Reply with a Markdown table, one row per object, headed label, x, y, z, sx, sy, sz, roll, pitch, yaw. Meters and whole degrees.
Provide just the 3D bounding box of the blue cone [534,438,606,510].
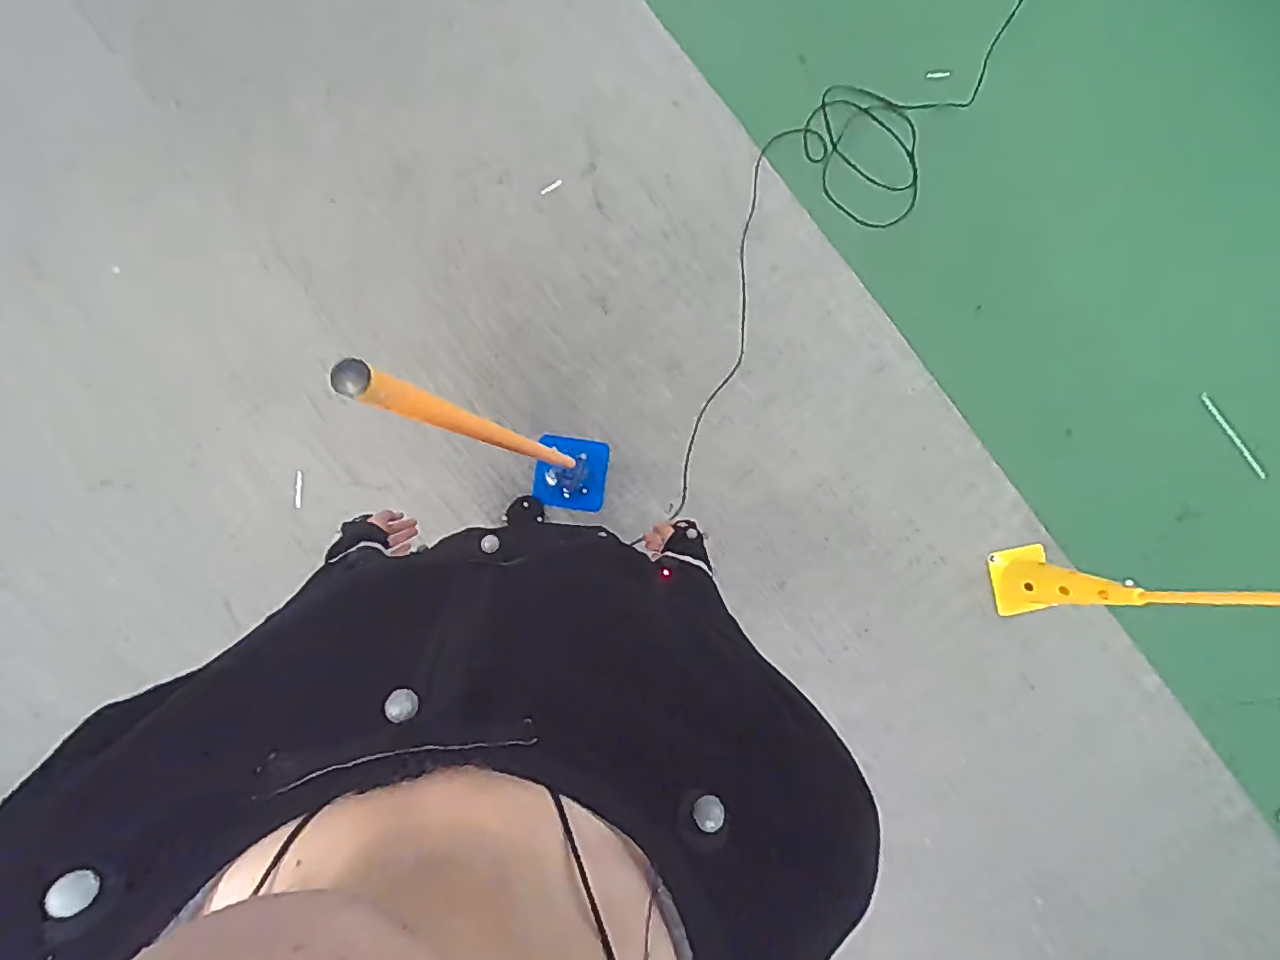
| label | x | y | z | sx | sy | sz | roll | pitch | yaw |
| --- | --- | --- | --- | --- | --- | --- | --- | --- | --- |
| blue cone | -0.175 | -0.025 | 1.328 | 0.193 | 0.380 | 0.192 | 6 | 86 | -6 |
